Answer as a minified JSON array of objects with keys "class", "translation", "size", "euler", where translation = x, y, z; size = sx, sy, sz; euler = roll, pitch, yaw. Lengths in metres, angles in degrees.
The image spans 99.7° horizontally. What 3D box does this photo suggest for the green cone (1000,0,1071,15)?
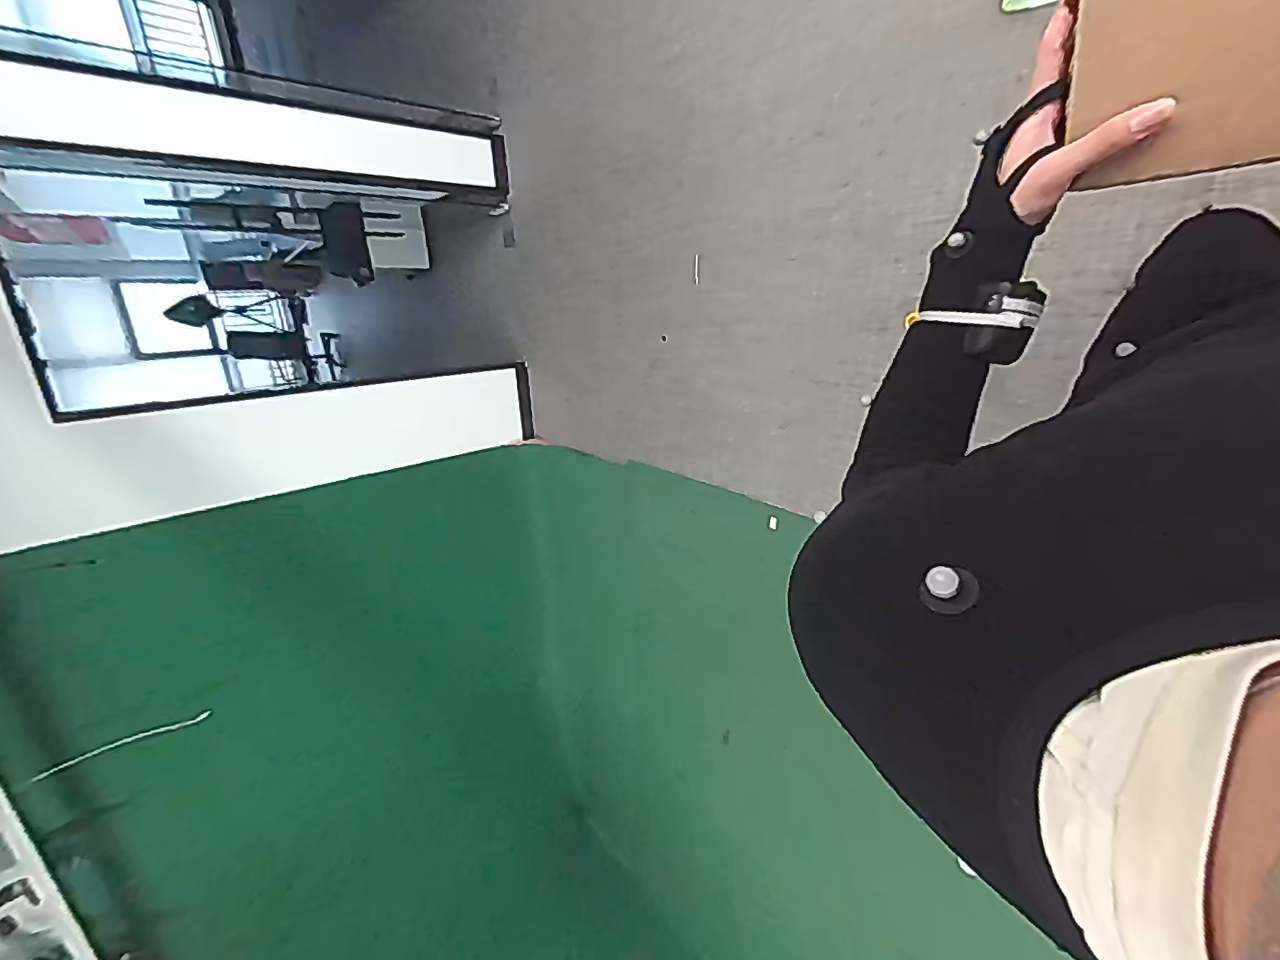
[{"class":"green cone","translation":[0.769,-1.093,1.047],"size":[0.200,0.368,0.202],"euler":[27,124,43]}]
